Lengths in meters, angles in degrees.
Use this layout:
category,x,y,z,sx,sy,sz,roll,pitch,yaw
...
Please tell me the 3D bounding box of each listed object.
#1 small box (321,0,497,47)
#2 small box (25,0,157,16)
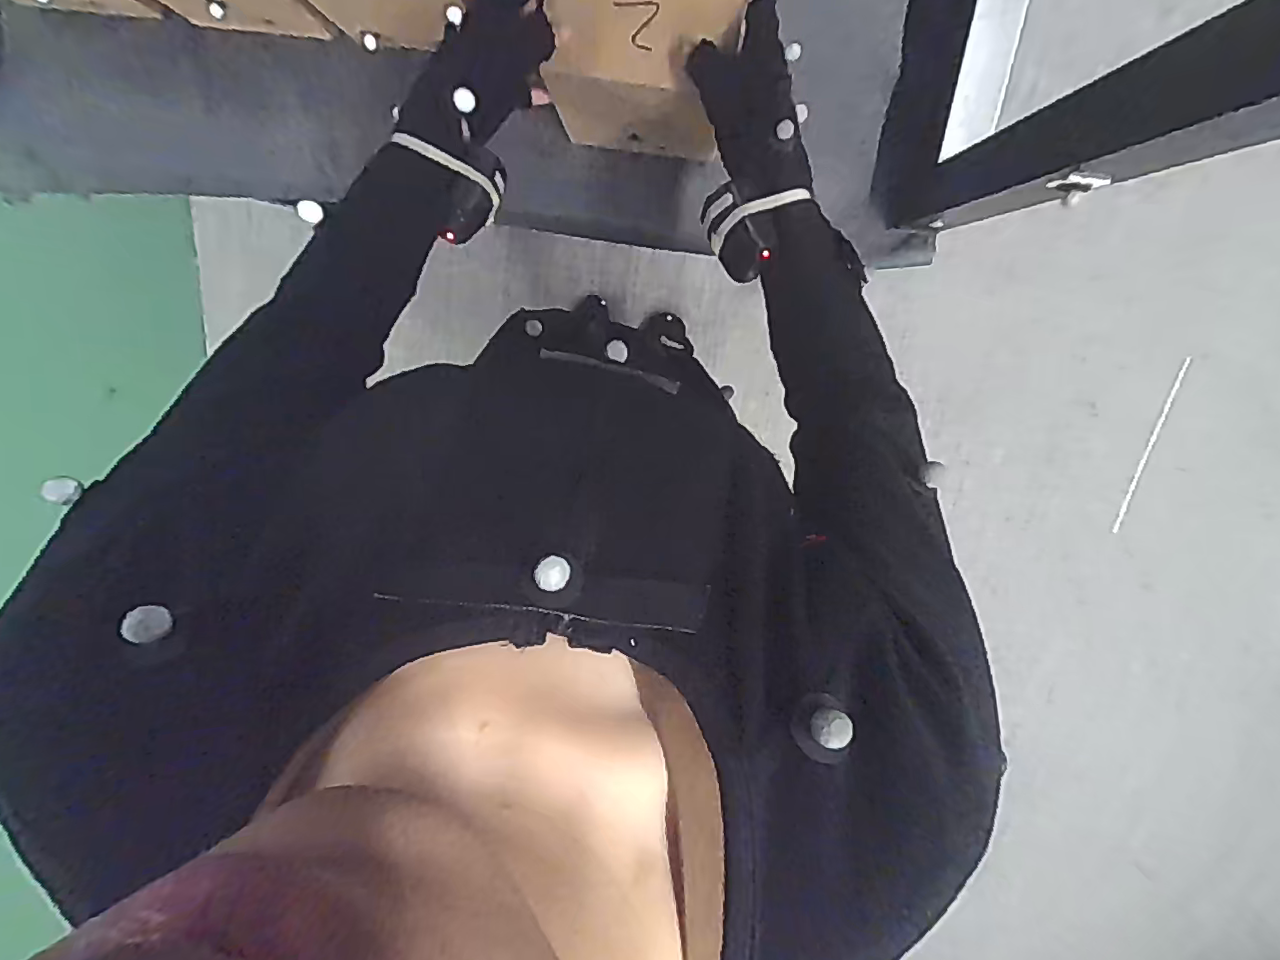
category,x,y,z,sx,sy,sz,roll,pitch,yaw
small box,-0.232,-0.537,0.493,0.168,0.176,0.179,6,107,1
small box,-0.604,-0.581,0.496,0.168,0.176,0.179,6,107,1
